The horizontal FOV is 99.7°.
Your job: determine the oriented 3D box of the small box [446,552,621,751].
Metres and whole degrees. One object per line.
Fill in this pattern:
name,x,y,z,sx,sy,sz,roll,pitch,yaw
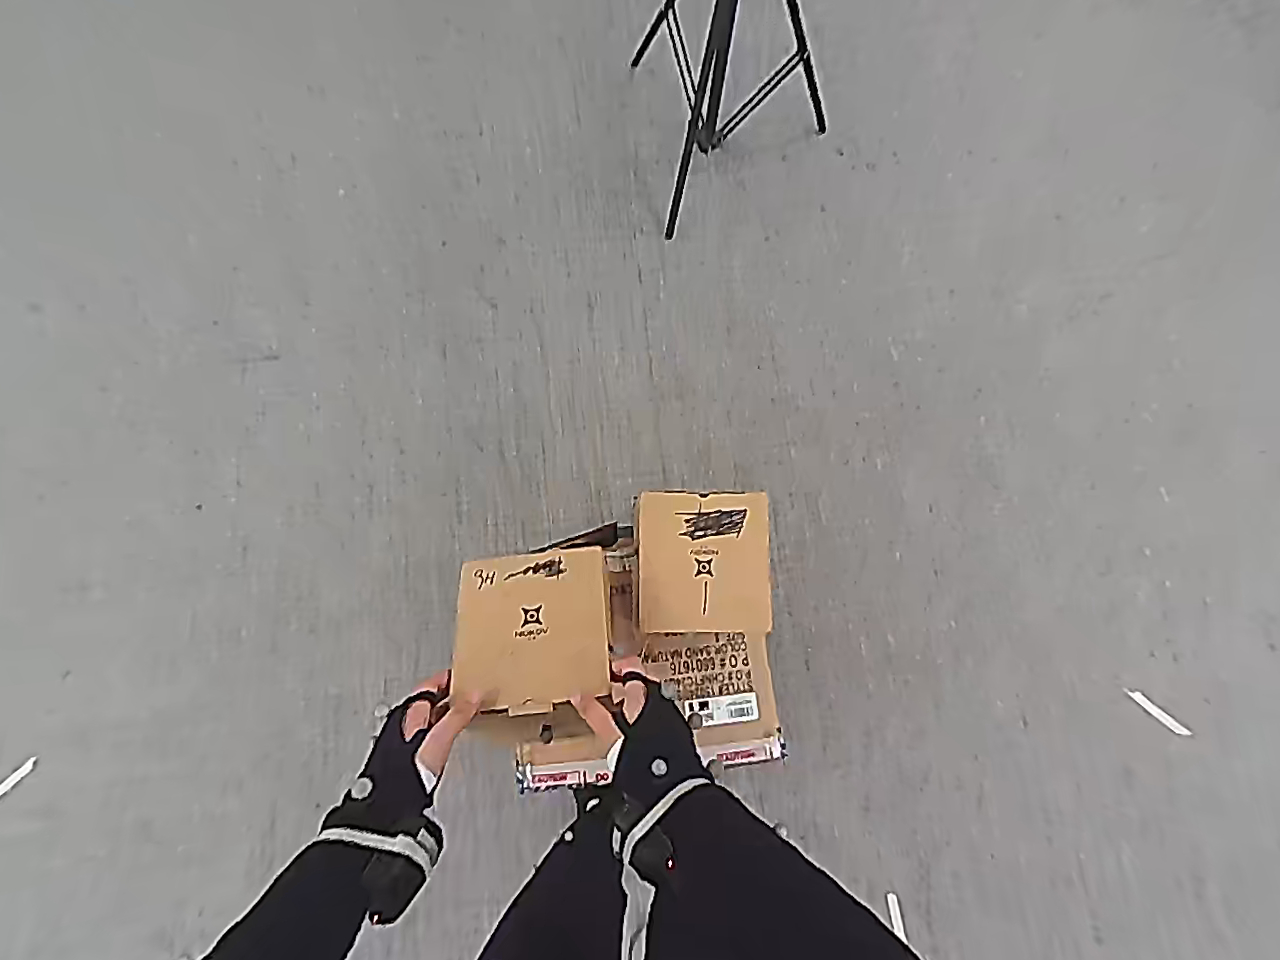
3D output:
small box,-0.114,0.209,0.639,0.168,0.176,0.179,-6,53,-2
